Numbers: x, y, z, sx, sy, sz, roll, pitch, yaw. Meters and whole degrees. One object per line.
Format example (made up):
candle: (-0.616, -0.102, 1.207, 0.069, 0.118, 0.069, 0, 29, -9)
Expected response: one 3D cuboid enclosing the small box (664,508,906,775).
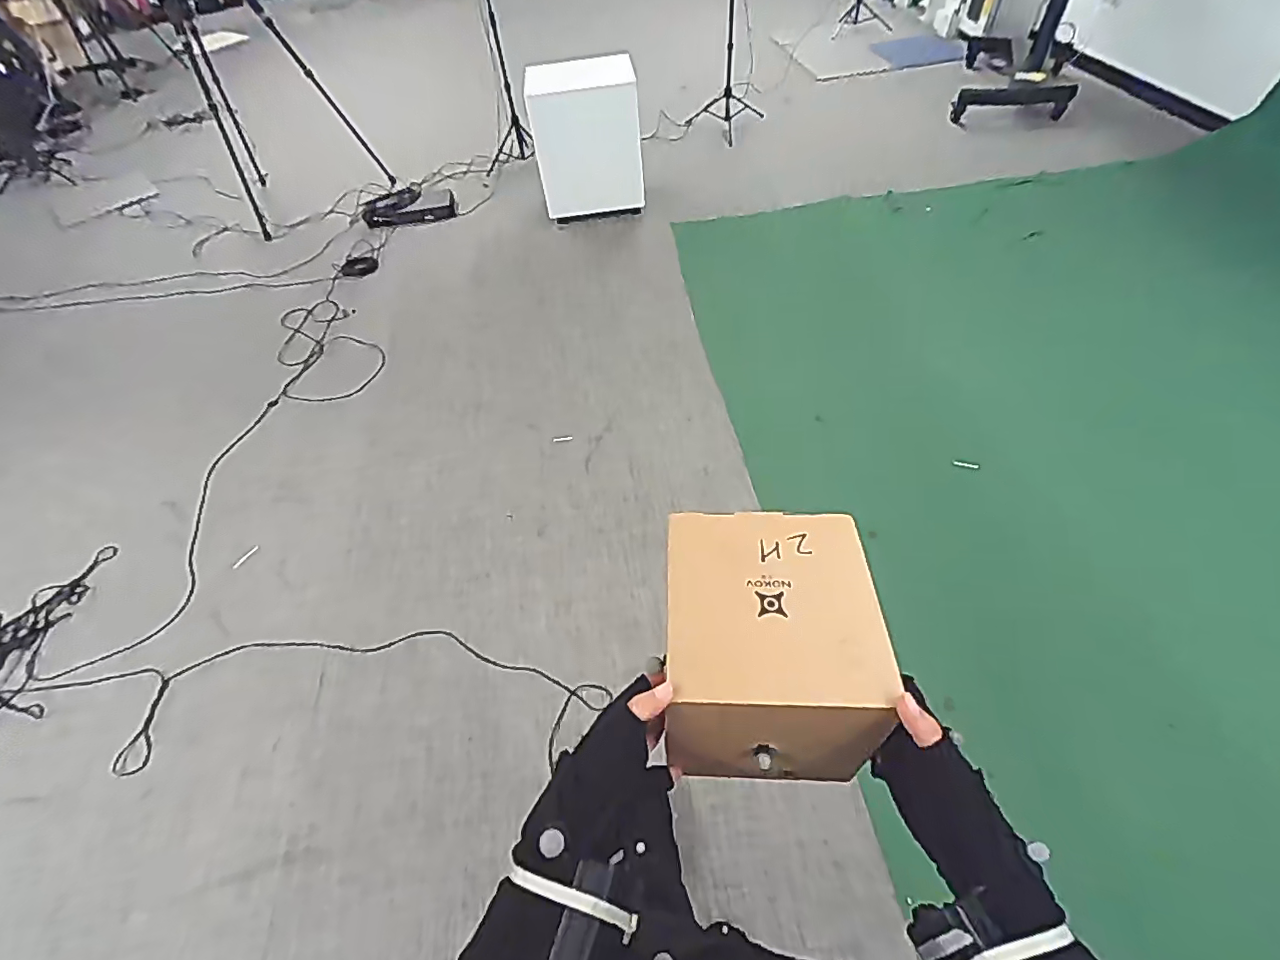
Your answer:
small box: (0.107, 0.145, 0.481, 0.168, 0.176, 0.179, 1, 45, 3)
